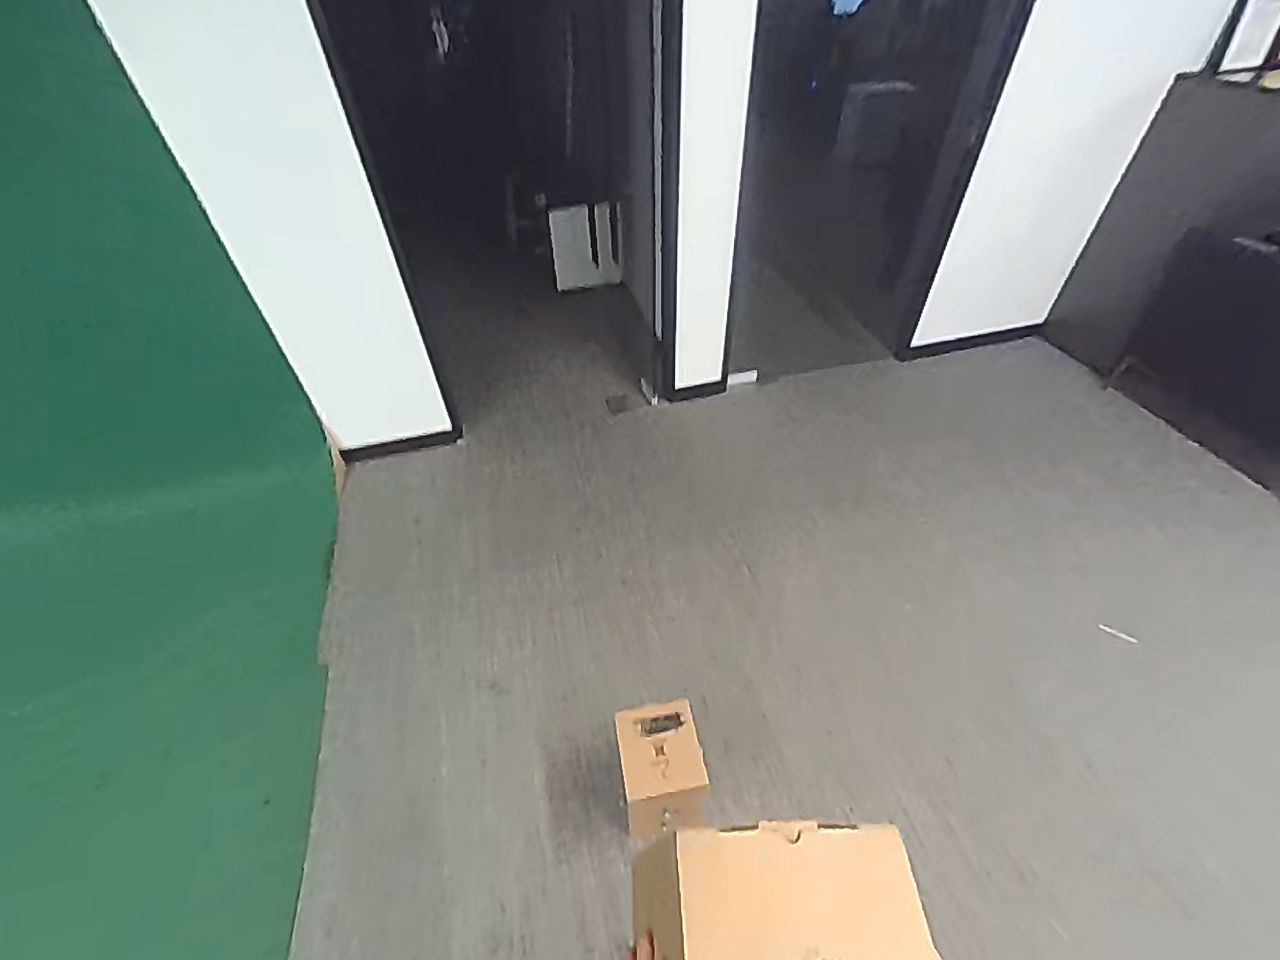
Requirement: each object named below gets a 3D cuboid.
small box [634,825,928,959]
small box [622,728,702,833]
[{"bbox_3d":[0.089,0.359,0.383,0.168,0.176,0.179,5,49,-9],"label":"small box"},{"bbox_3d":[0.050,0.719,1.285,0.168,0.176,0.179,-6,45,-4],"label":"small box"}]
